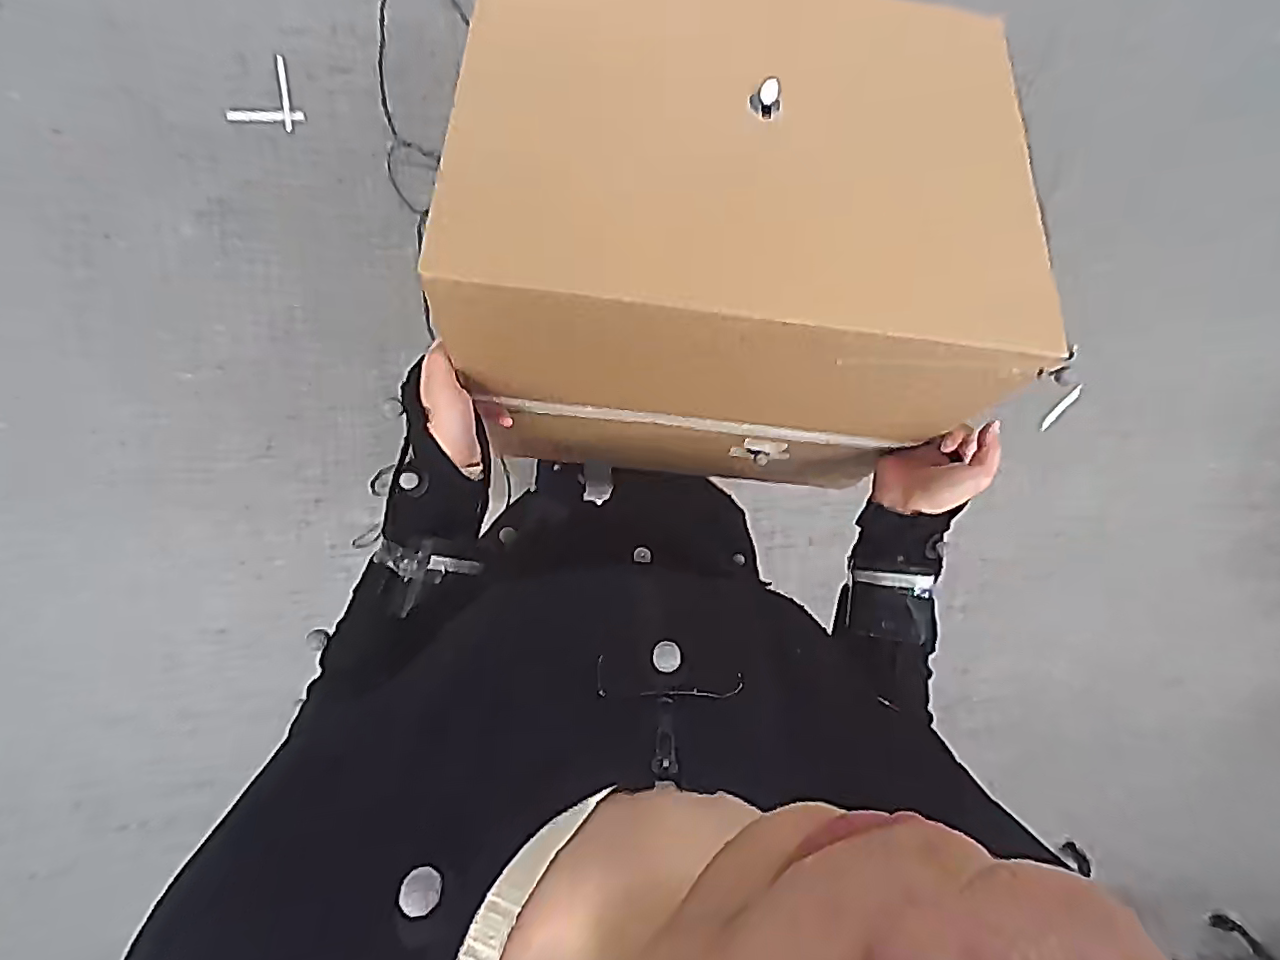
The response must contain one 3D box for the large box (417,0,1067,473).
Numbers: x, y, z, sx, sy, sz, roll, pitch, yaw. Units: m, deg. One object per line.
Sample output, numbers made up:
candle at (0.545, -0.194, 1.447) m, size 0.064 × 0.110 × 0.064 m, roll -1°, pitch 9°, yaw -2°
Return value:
large box at (0.059, -0.209, 0.504) m, size 0.408 × 0.320 × 0.320 m, roll 4°, pitch 74°, yaw -6°
